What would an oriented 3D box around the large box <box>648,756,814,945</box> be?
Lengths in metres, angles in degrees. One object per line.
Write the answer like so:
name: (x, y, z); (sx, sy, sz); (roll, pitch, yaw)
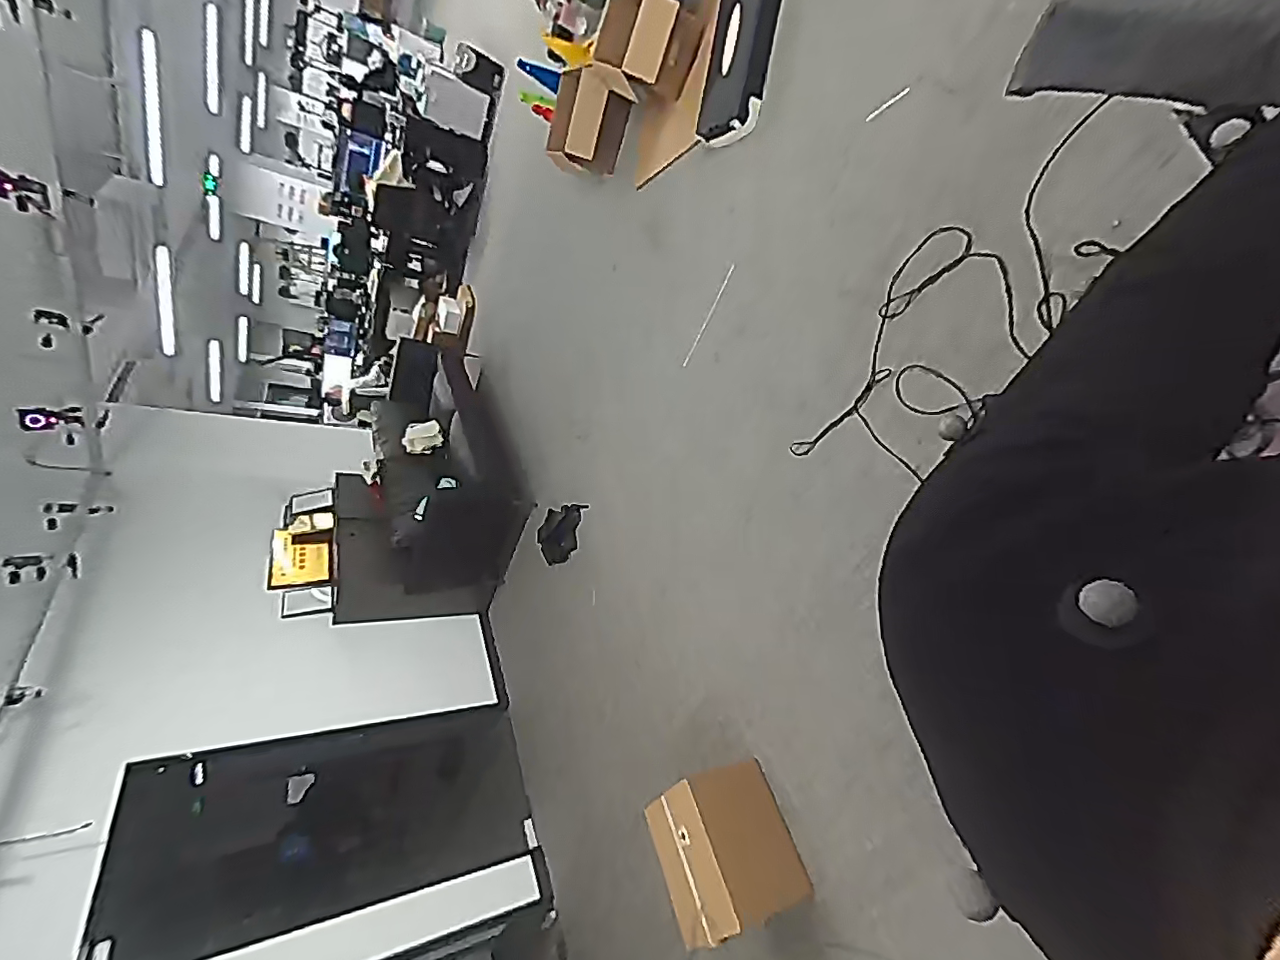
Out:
large box: (0.282, 1.190, 1.764); (0.320, 0.320, 0.408); (-58, 41, 35)
